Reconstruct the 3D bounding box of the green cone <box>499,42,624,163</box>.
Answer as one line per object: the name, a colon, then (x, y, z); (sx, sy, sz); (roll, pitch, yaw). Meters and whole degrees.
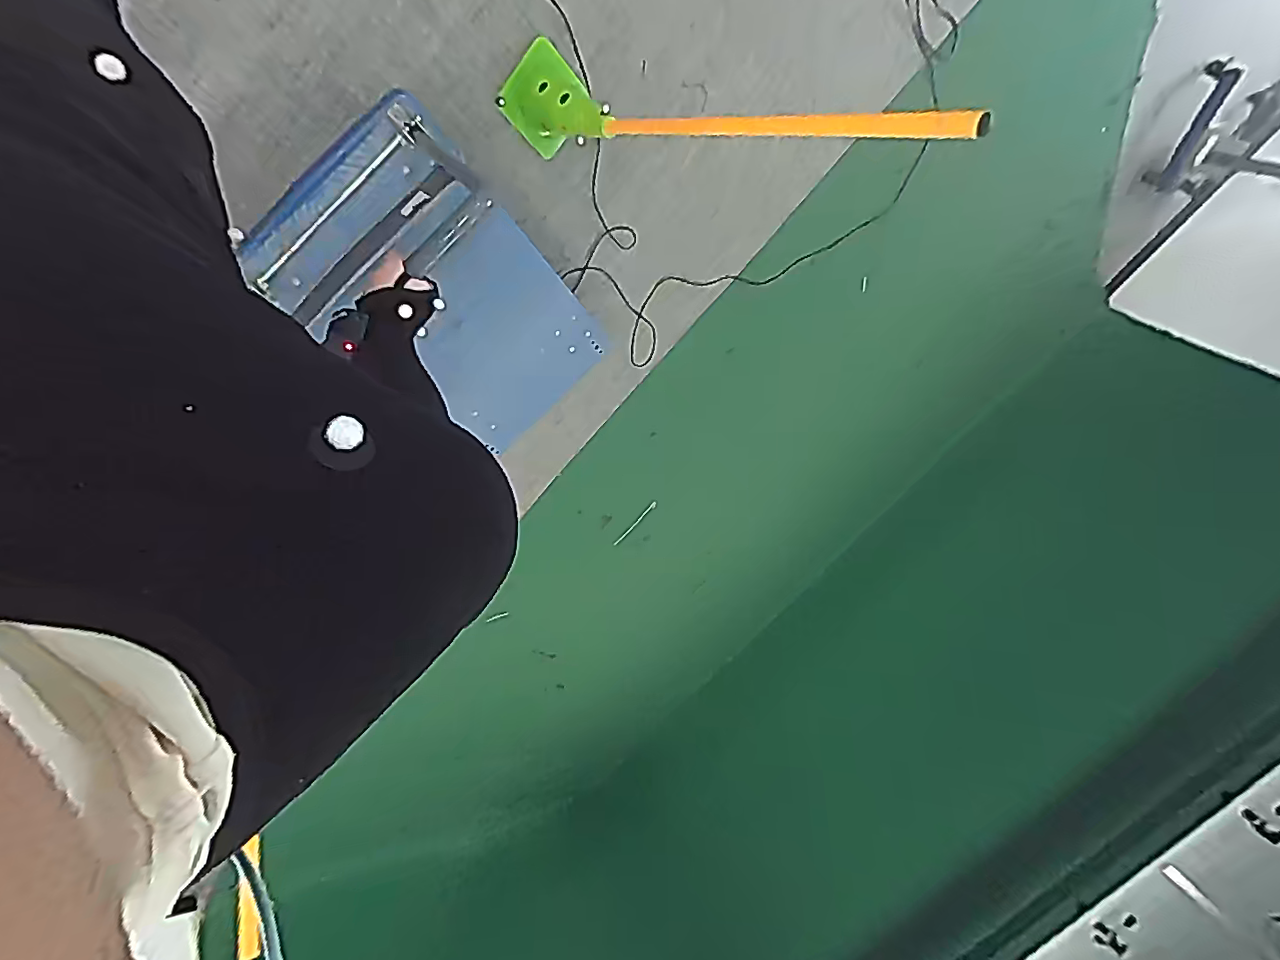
green cone: (-0.148, -0.863, 1.285); (0.202, 0.368, 0.200); (-51, 142, 11)
